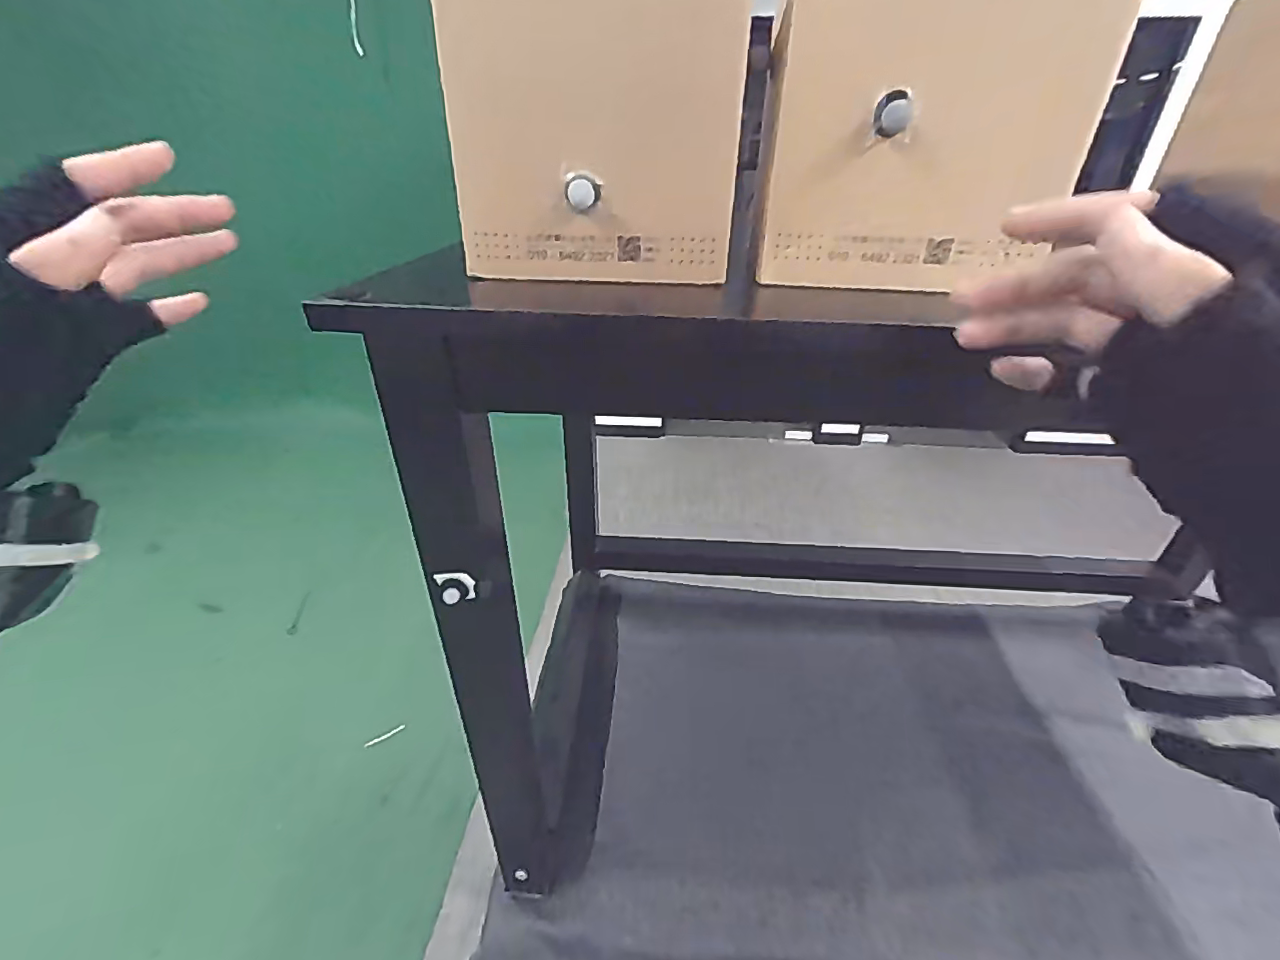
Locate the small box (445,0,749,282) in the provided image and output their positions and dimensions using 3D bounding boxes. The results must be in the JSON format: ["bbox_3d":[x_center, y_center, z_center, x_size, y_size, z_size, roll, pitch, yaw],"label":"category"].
[{"bbox_3d":[-0.024,-0.245,0.377,0.168,0.176,0.179,2,32,2],"label":"small box"}]
